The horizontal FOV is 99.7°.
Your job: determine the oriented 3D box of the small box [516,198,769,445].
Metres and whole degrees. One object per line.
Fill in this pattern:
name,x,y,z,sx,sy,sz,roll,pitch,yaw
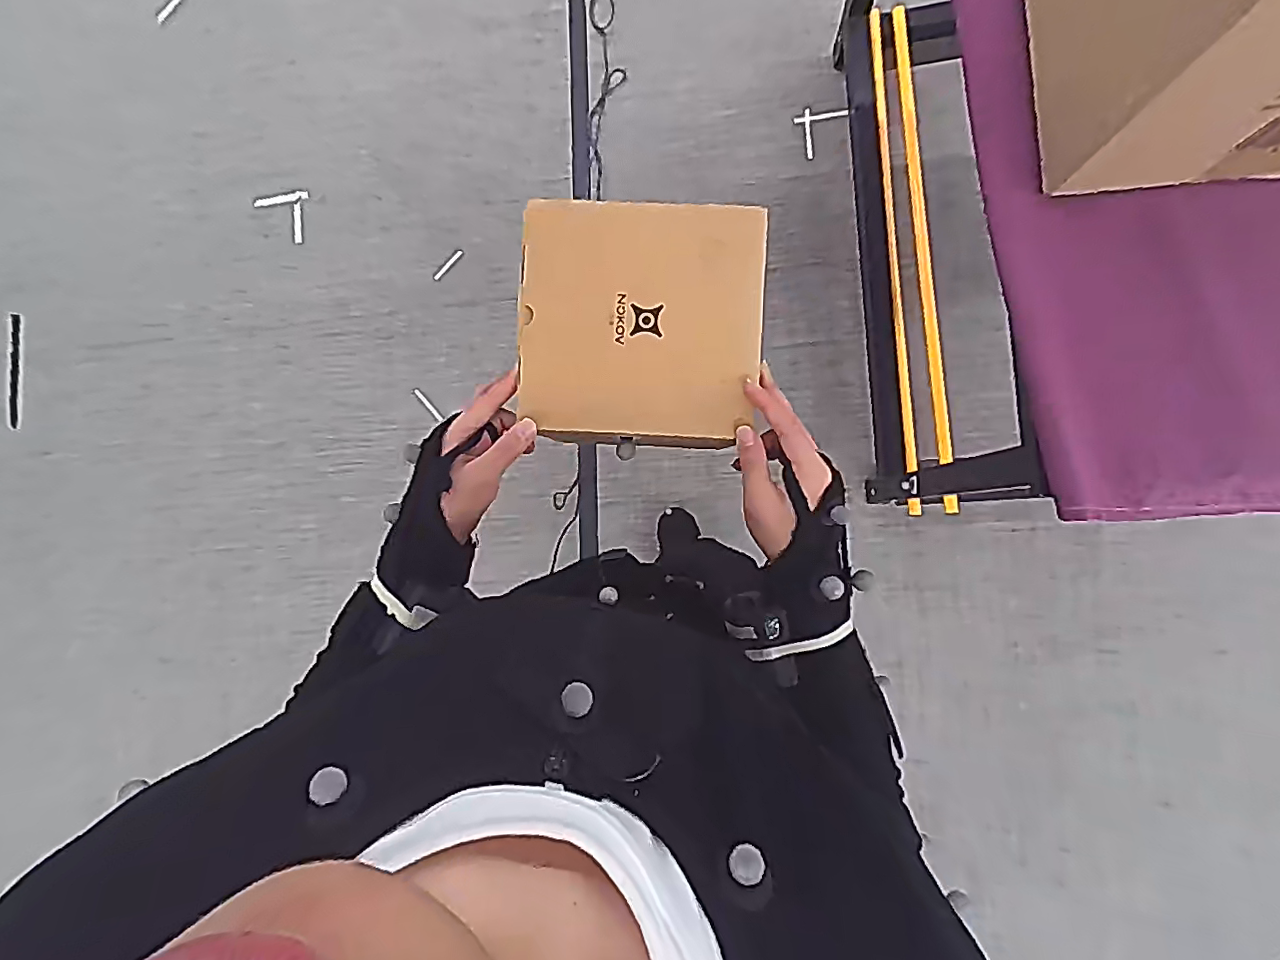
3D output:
small box,0.002,-0.117,0.466,0.179,0.176,0.168,3,92,2
